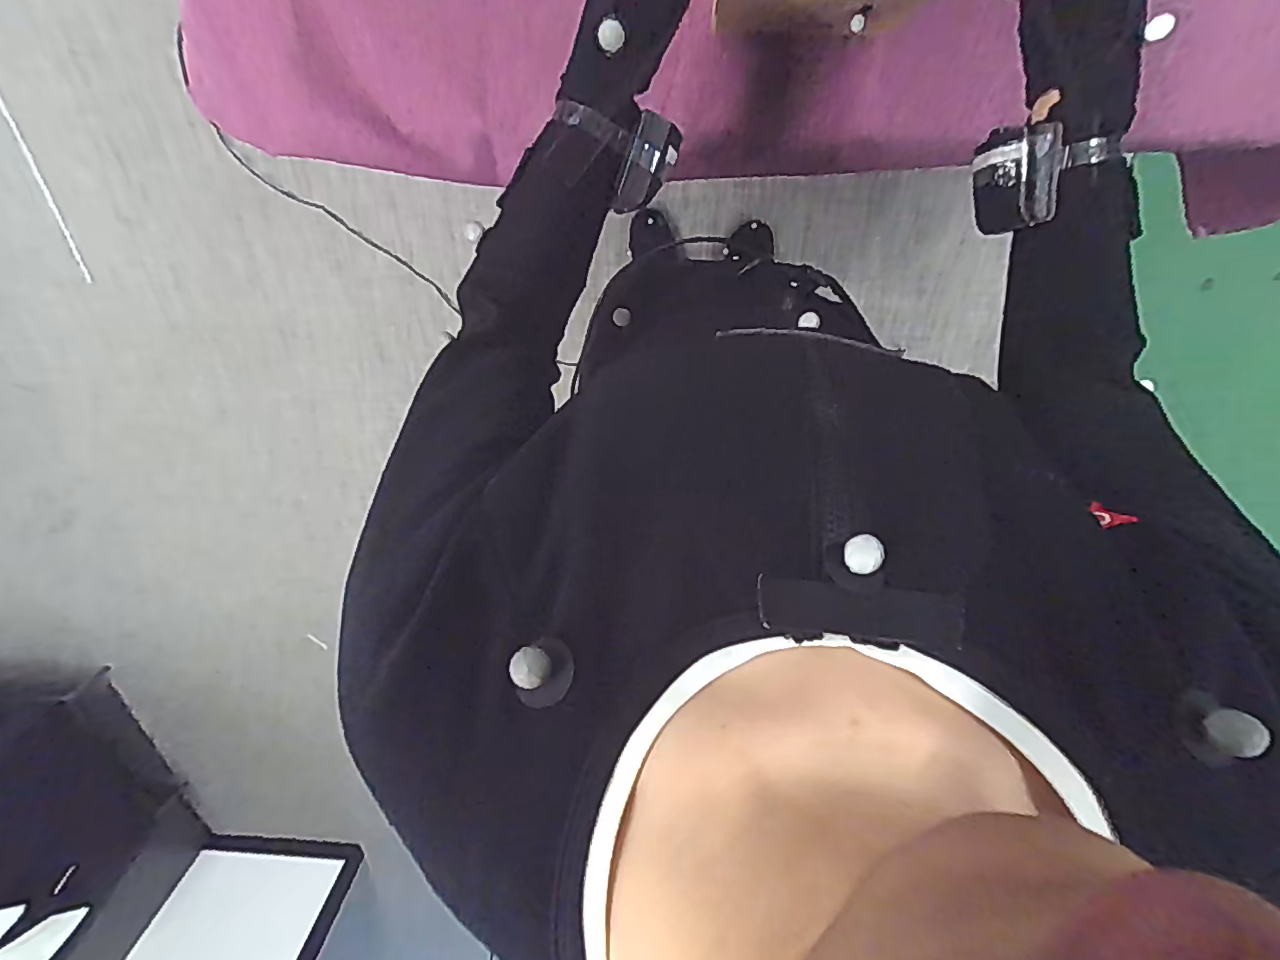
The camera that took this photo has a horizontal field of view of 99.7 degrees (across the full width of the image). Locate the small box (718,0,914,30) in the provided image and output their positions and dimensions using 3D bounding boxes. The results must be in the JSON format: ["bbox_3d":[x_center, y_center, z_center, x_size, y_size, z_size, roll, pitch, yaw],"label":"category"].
[{"bbox_3d":[0.150,-0.465,0.405,0.168,0.176,0.179,5,119,2],"label":"small box"}]
